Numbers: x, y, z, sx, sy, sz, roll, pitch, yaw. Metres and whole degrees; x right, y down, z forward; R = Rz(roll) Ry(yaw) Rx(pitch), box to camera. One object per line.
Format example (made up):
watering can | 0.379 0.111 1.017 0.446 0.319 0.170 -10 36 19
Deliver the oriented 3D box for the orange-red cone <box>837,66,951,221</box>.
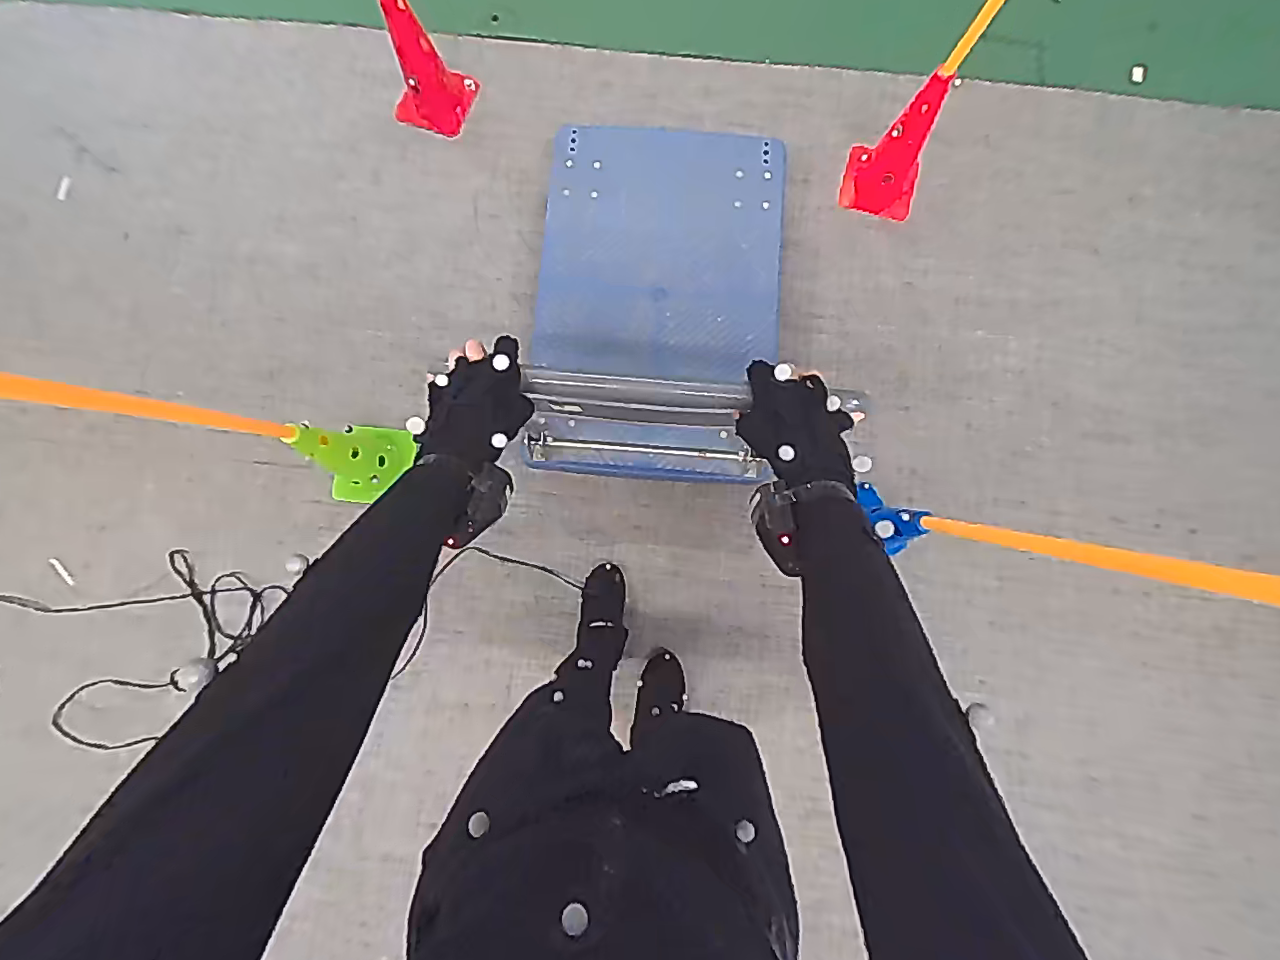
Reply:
orange-red cone | 0.665 -0.858 1.350 0.198 0.360 0.199 17 82 4
